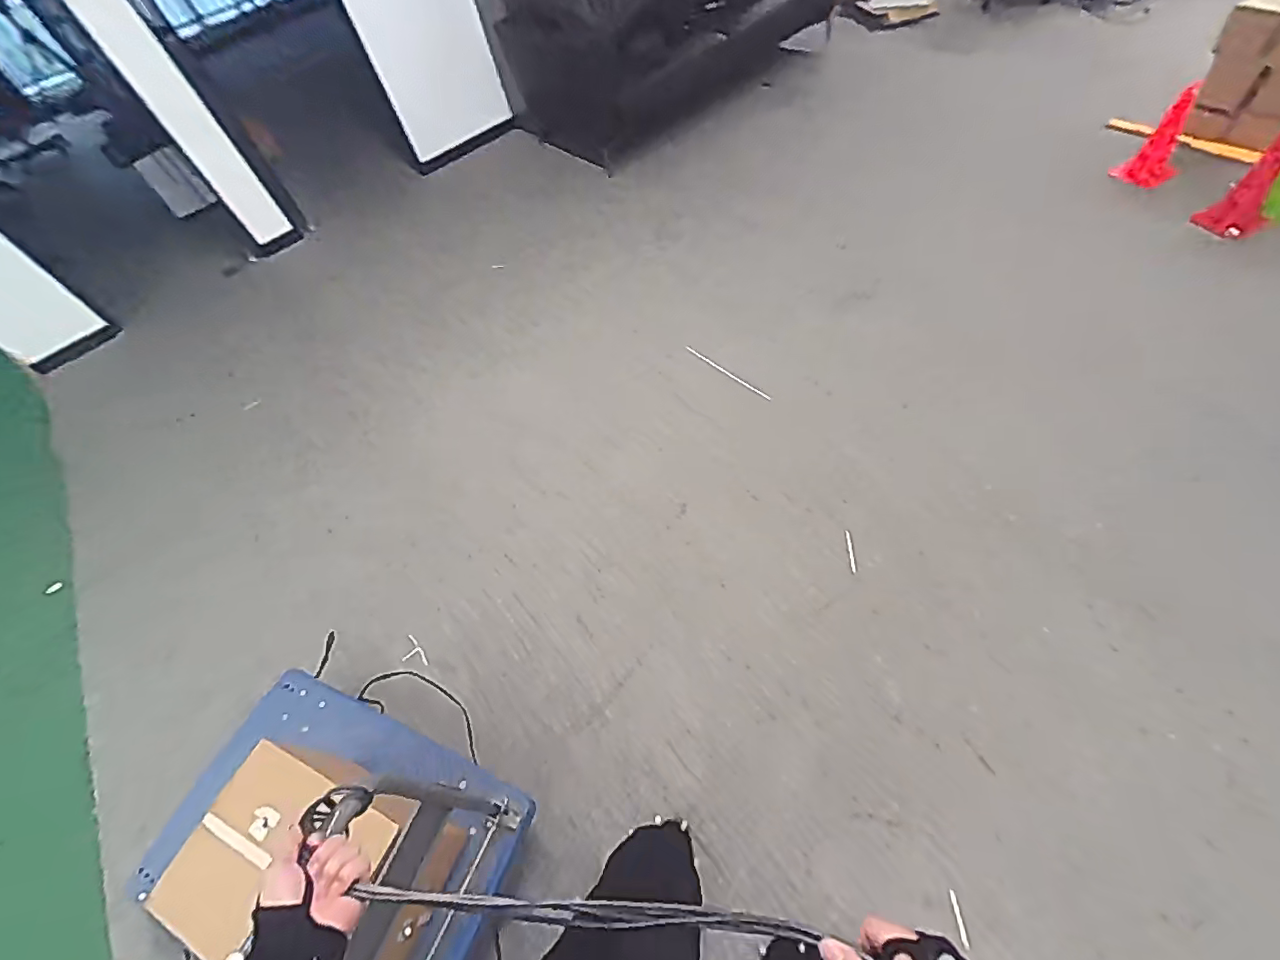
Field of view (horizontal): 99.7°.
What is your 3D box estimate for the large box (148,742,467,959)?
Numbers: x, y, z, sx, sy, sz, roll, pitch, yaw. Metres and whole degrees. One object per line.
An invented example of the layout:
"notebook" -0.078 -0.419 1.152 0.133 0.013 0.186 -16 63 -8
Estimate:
"large box" -0.651 0.802 1.121 0.408 0.320 0.320 15 58 23
